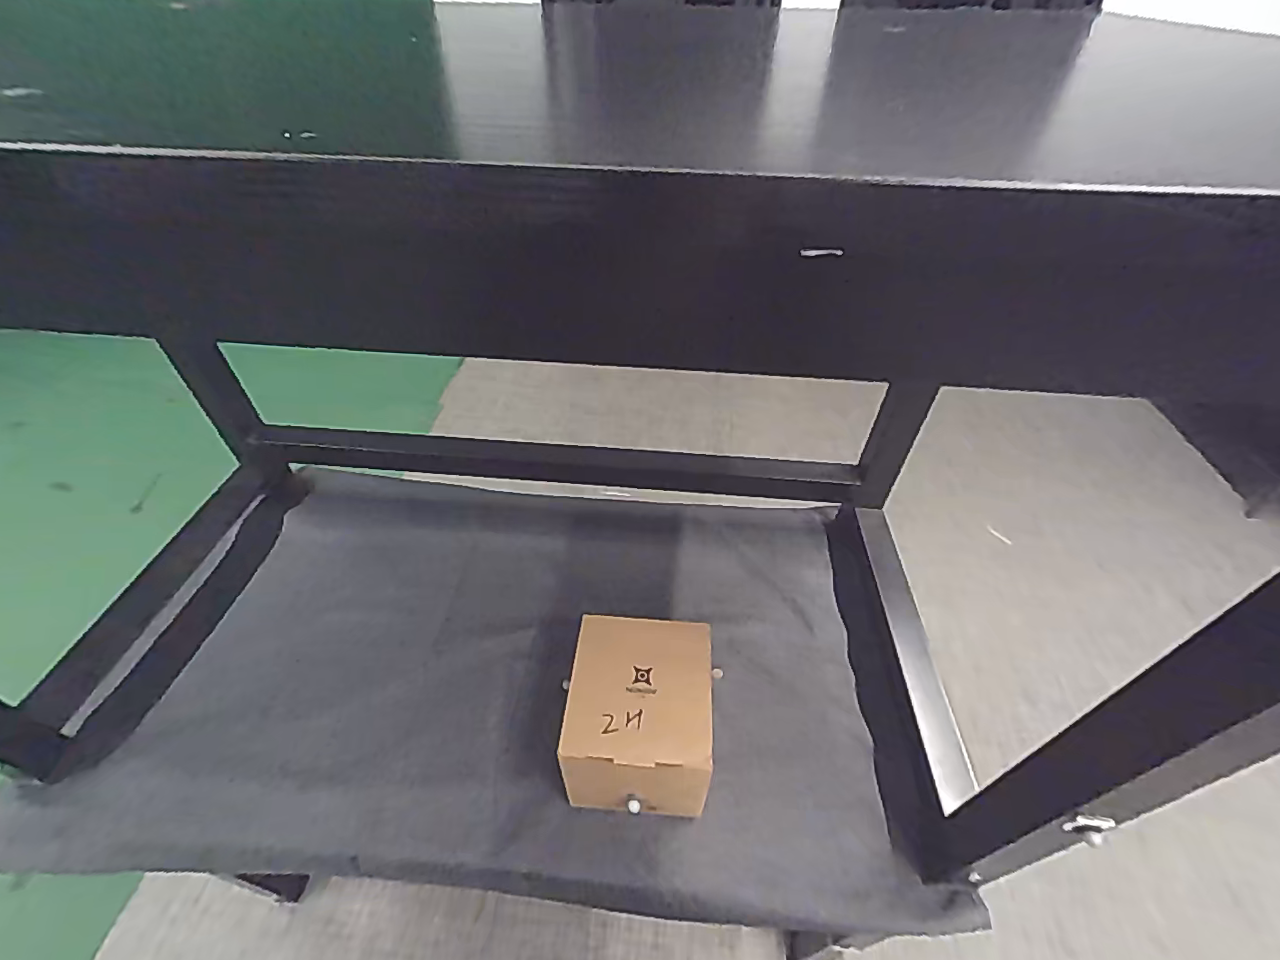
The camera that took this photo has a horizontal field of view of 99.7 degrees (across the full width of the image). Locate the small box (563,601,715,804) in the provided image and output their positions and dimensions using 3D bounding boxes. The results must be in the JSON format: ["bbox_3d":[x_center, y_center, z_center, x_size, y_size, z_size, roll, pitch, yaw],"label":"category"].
[{"bbox_3d":[0.004,0.281,0.687,0.168,0.176,0.179,4,43,4],"label":"small box"}]
